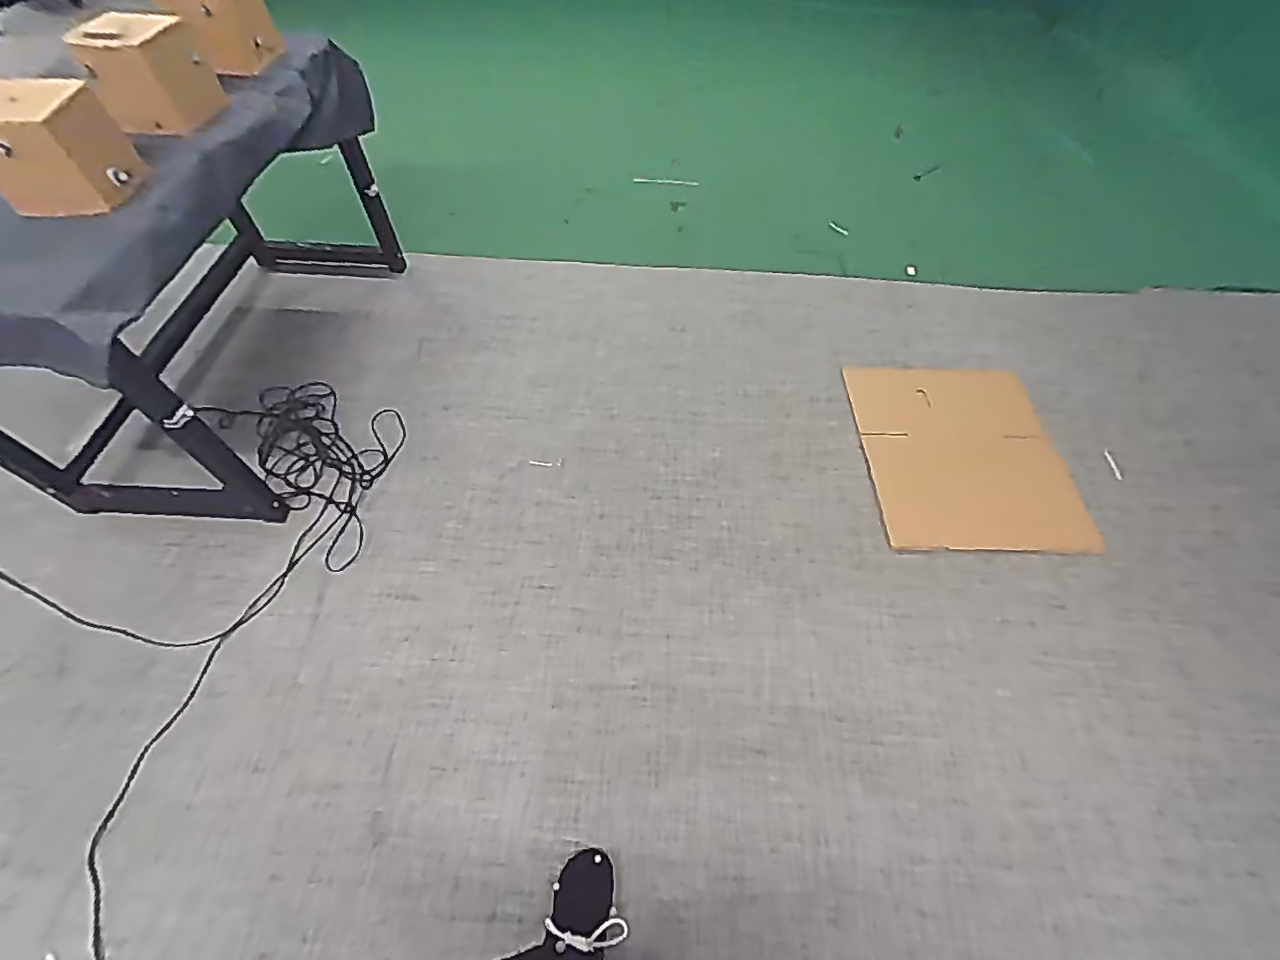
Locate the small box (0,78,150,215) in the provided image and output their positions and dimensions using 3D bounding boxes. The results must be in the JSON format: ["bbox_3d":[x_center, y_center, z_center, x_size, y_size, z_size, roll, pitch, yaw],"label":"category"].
[{"bbox_3d":[-1.092,-0.617,1.008,0.179,0.176,0.168,-3,58,-4],"label":"small box"}]

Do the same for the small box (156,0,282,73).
[{"bbox_3d":[-1.063,-1.160,1.366,0.179,0.176,0.168,6,57,3],"label":"small box"}]
